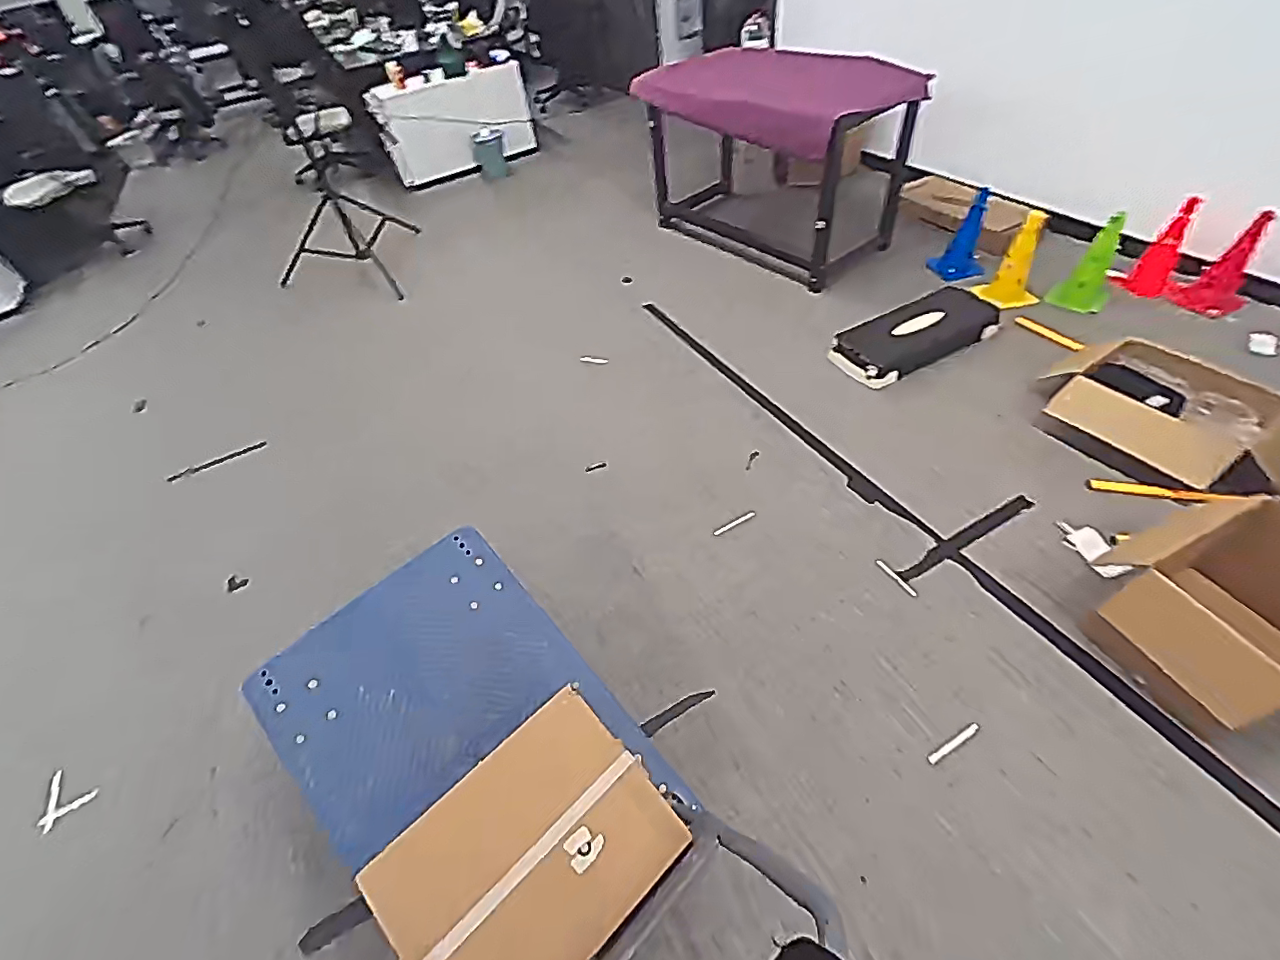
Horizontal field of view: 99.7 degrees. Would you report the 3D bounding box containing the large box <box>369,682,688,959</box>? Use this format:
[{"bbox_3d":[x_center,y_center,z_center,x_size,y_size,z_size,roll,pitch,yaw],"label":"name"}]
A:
[{"bbox_3d":[-0.181,0.644,0.969,0.408,0.320,0.320,-38,74,-24],"label":"large box"}]
